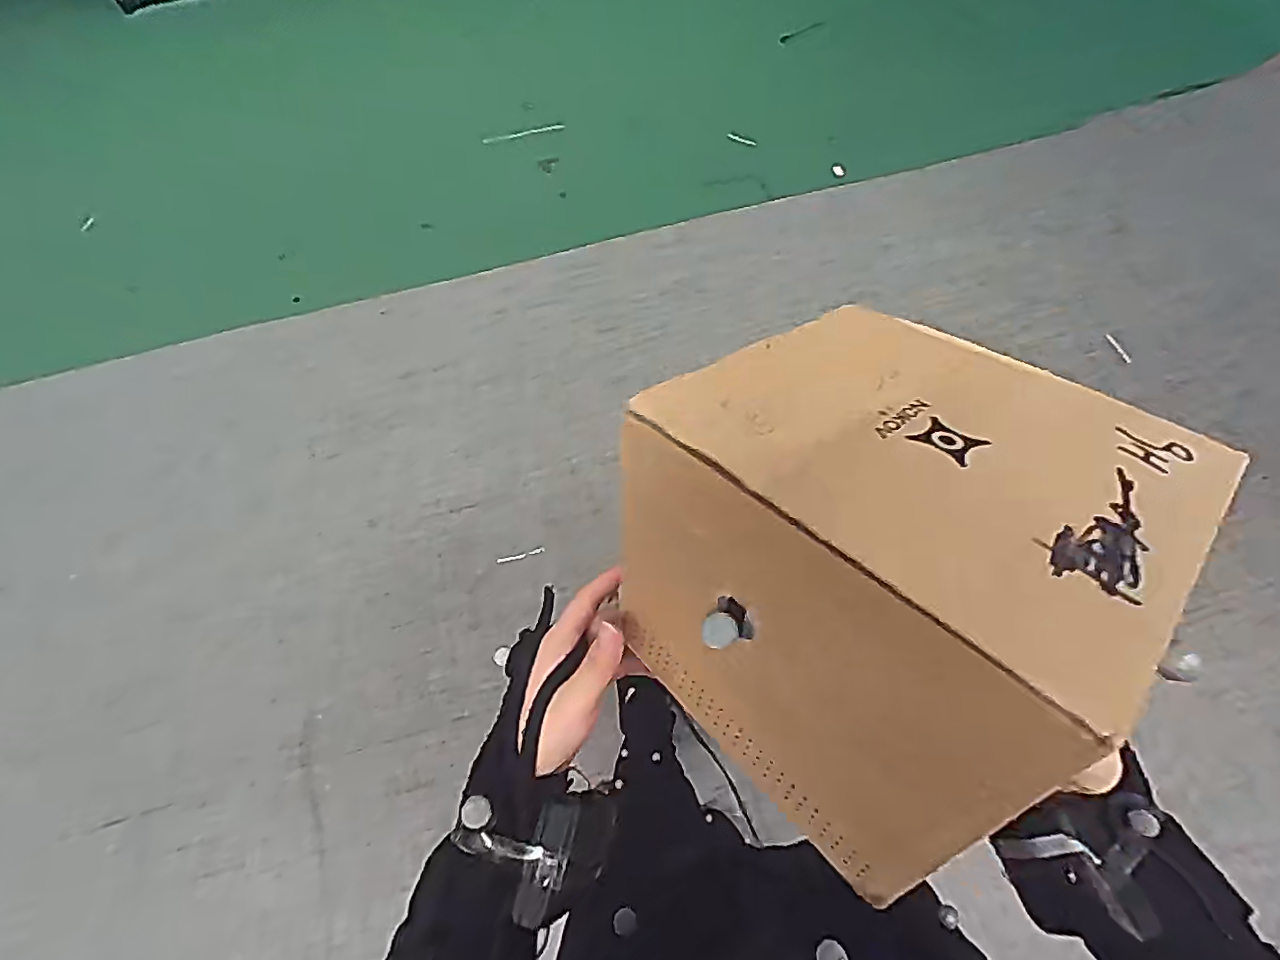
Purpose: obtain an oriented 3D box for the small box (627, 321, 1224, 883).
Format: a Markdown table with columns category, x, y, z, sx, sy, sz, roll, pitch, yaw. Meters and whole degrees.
| category | x | y | z | sx | sy | sz | roll | pitch | yaw |
| --- | --- | --- | --- | --- | --- | --- | --- | --- | --- |
| small box | 0.108 | 0.048 | 0.269 | 0.168 | 0.176 | 0.179 | -31 | 51 | -30 |
